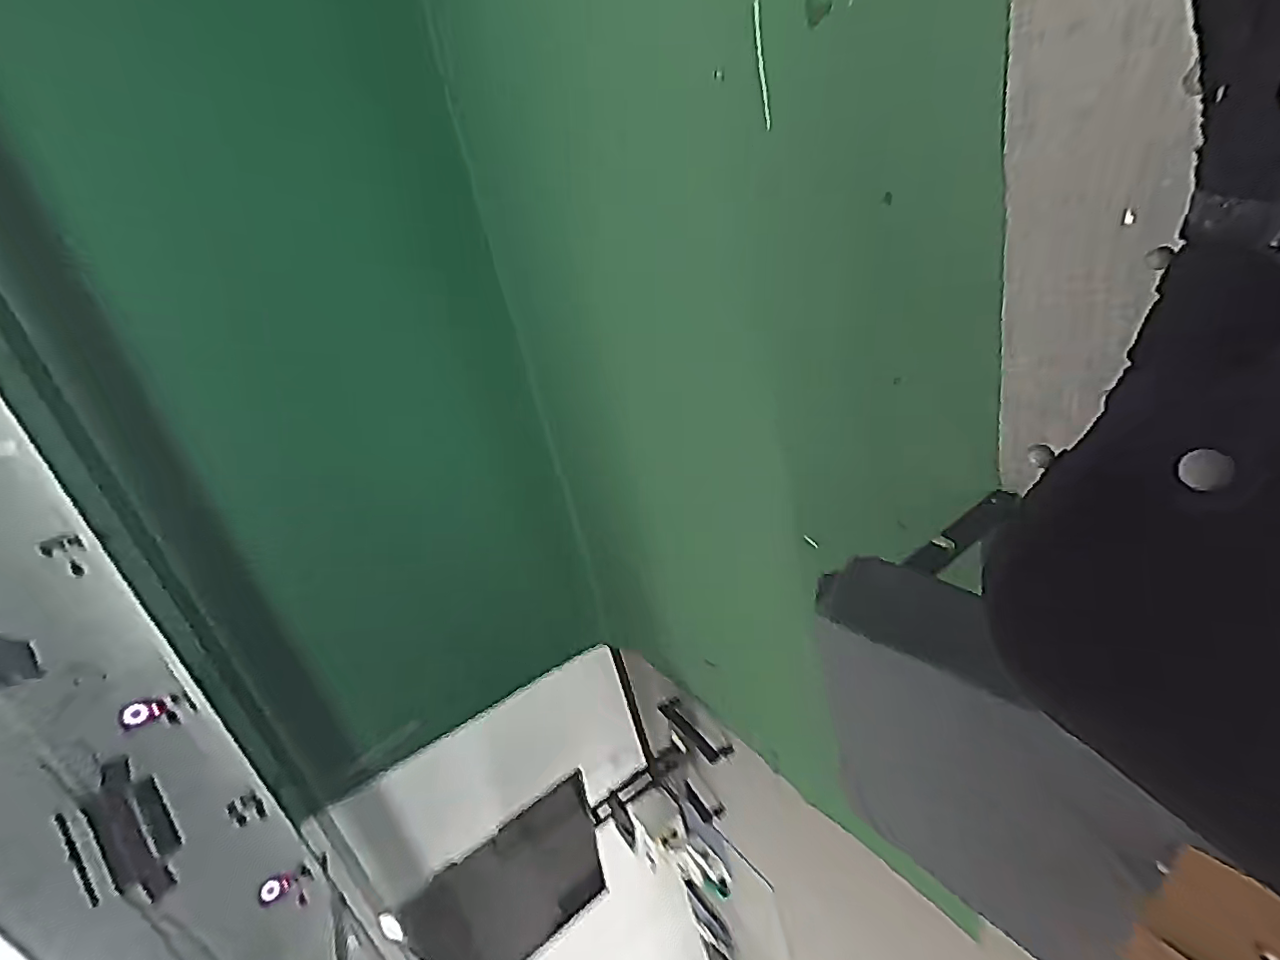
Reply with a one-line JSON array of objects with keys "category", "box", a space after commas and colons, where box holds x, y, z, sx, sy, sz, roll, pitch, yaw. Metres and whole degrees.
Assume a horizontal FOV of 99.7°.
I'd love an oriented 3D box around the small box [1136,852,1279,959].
[{"category": "small box", "box": [0.730, 0.592, 0.641, 0.179, 0.176, 0.168, 18, 128, 55]}]
